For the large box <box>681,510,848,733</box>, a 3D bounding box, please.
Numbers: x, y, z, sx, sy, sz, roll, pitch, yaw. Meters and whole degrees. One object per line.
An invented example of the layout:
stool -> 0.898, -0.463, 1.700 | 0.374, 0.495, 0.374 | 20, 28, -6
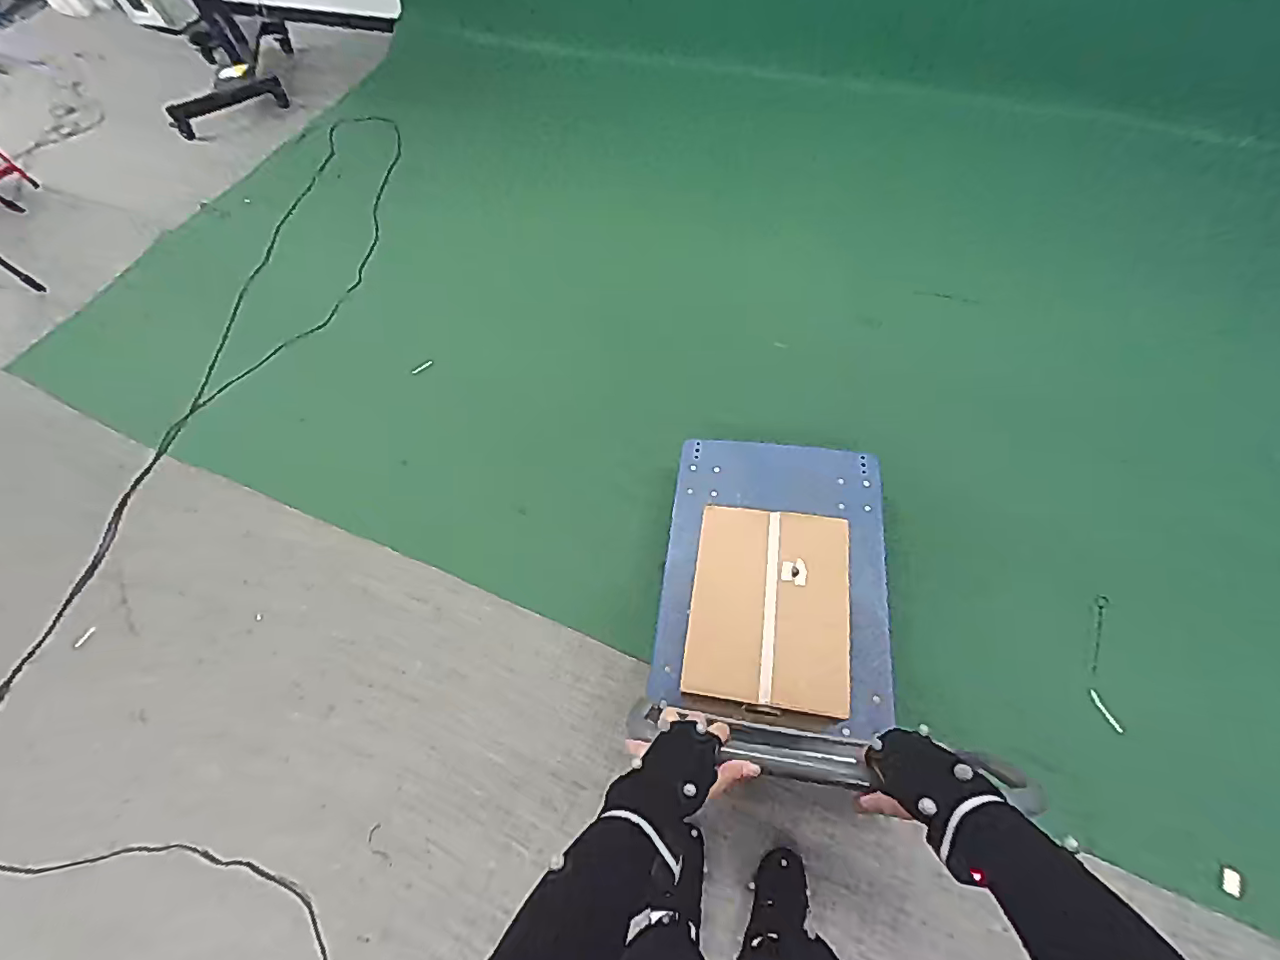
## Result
large box -> 0.273, 0.326, 1.231 | 0.320, 0.320, 0.408 | 6, 60, 9
